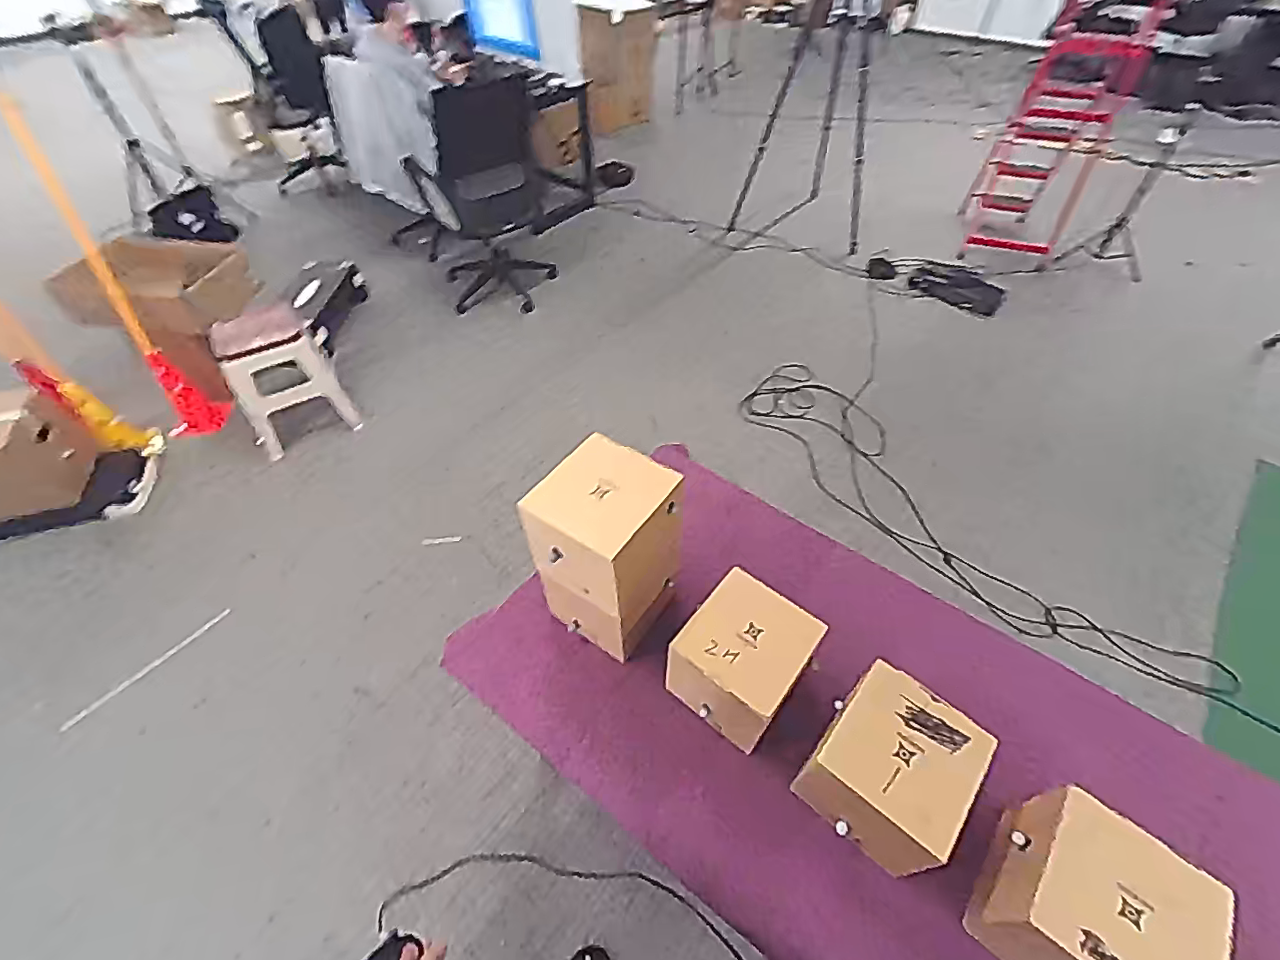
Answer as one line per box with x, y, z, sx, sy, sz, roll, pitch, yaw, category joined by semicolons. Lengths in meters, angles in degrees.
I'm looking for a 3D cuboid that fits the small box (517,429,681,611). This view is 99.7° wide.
-0.052;0.062;0.811;0.168;0.176;0.179;28;54;23;small box

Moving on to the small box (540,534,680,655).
-0.048;0.165;0.936;0.168;0.176;0.179;28;56;23;small box

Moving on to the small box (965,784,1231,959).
0.522;0.507;0.637;0.168;0.176;0.179;33;57;26;small box
